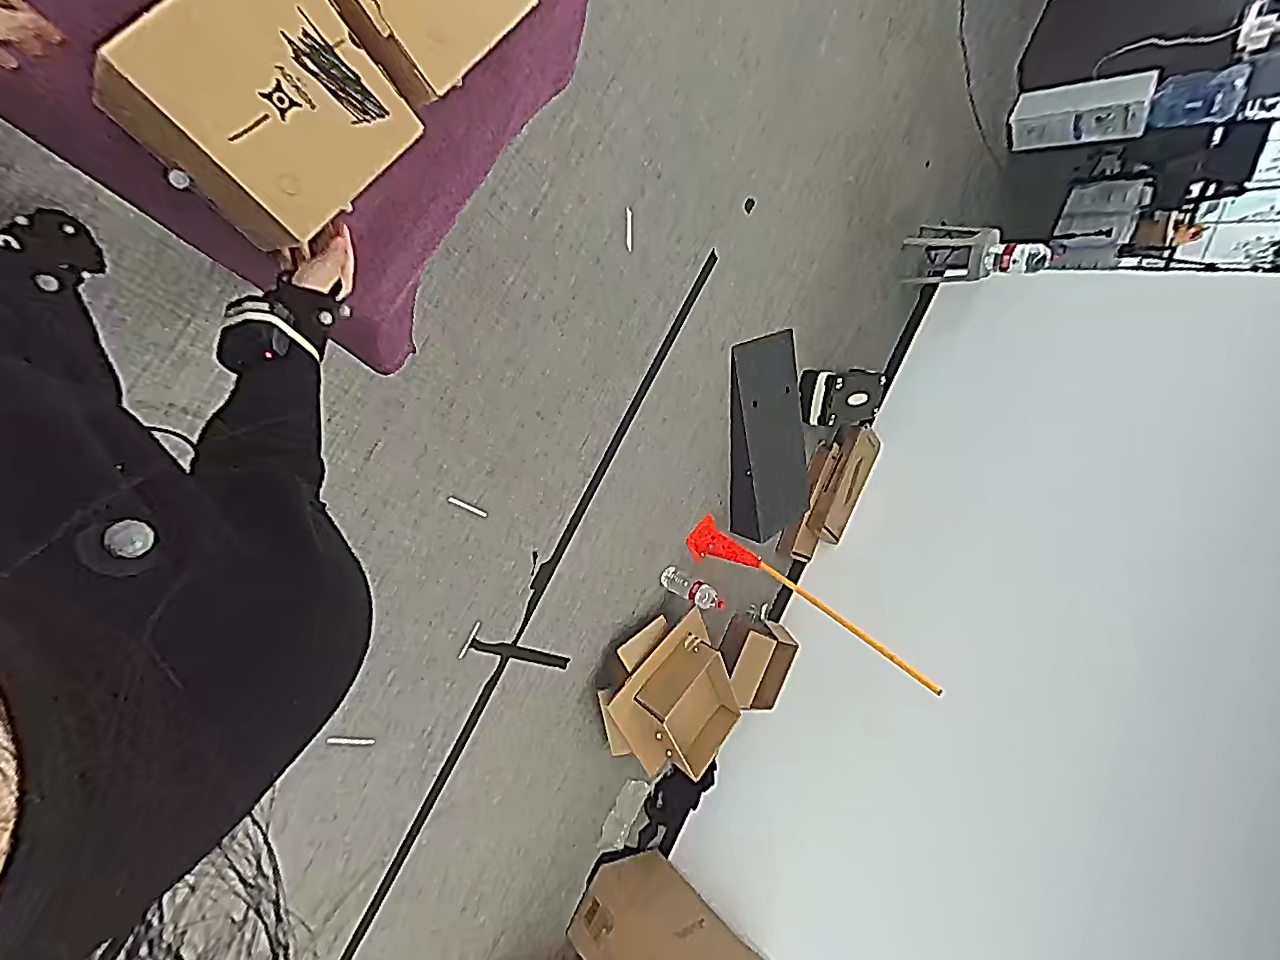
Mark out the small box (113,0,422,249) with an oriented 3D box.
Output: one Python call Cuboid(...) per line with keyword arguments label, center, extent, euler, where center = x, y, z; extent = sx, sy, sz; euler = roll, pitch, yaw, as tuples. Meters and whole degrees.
Cuboid(label="small box", center=(-0.359, -0.350, 0.524), extent=(0.179, 0.176, 0.168), euler=(-55, 135, -15))
